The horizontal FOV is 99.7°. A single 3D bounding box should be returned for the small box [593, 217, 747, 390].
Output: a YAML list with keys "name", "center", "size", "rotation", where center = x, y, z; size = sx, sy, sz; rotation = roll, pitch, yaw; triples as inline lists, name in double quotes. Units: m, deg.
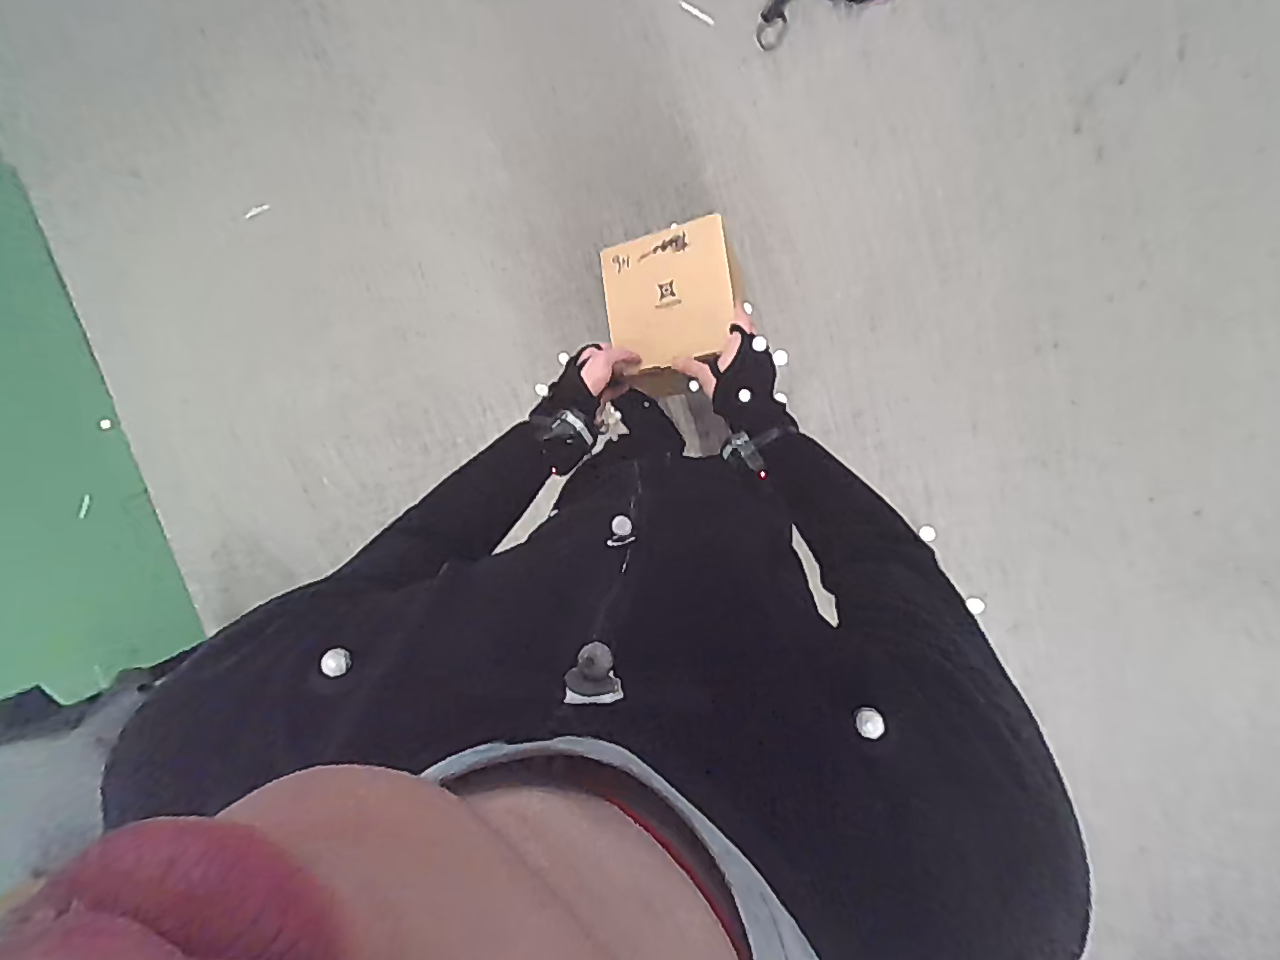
- name: "small box"
  center: [0.051, -0.233, 0.772]
  size: [0.168, 0.176, 0.179]
  rotation: [-9, 86, 20]
